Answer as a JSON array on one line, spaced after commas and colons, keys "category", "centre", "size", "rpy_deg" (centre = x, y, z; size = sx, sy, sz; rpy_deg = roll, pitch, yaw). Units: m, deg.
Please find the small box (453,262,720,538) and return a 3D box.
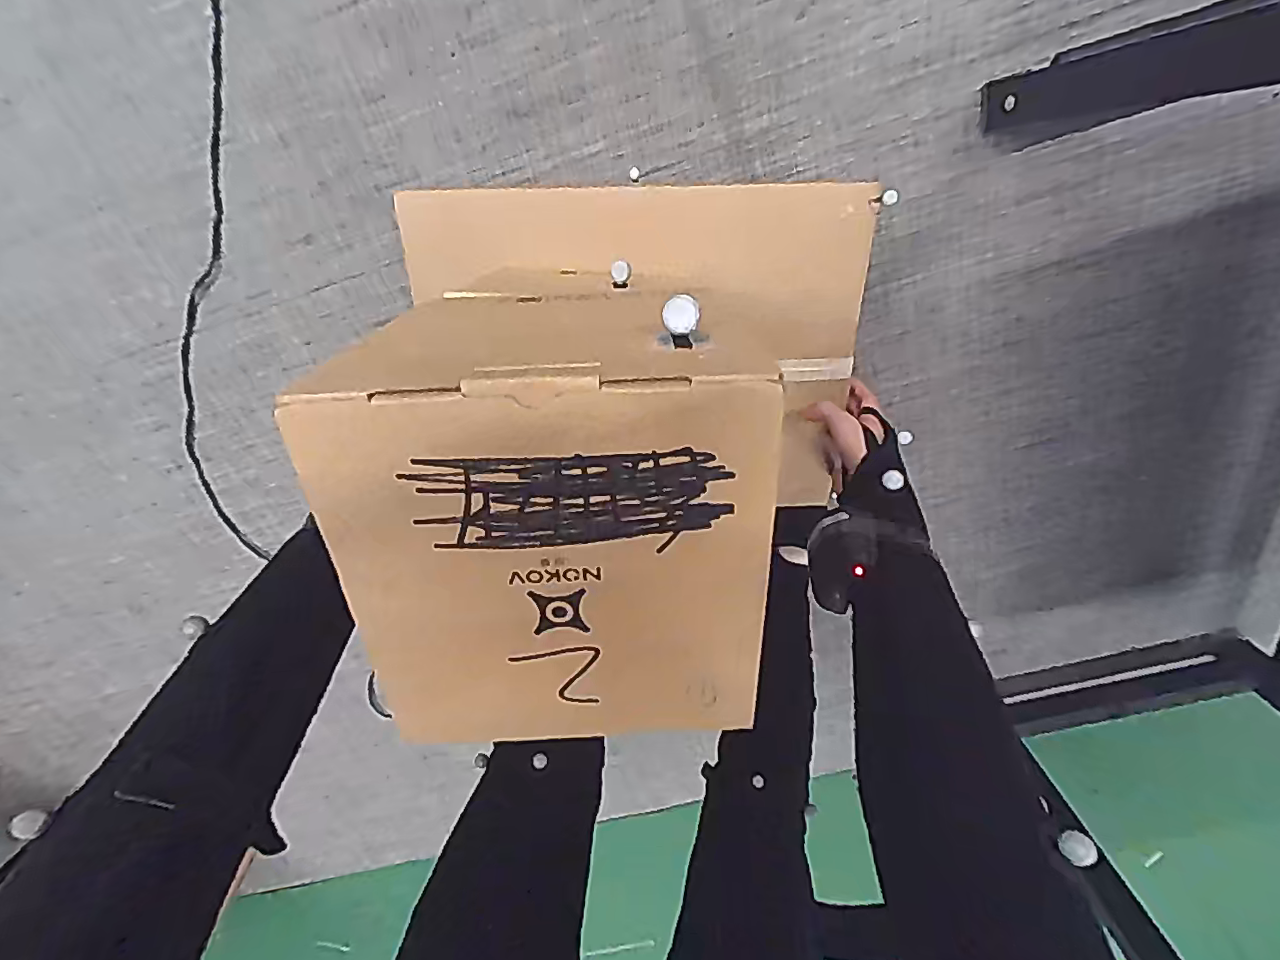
[{"category": "small box", "centre": [-0.040, -0.073, 0.434], "size": [0.168, 0.176, 0.179], "rpy_deg": [2, 118, -3]}]
